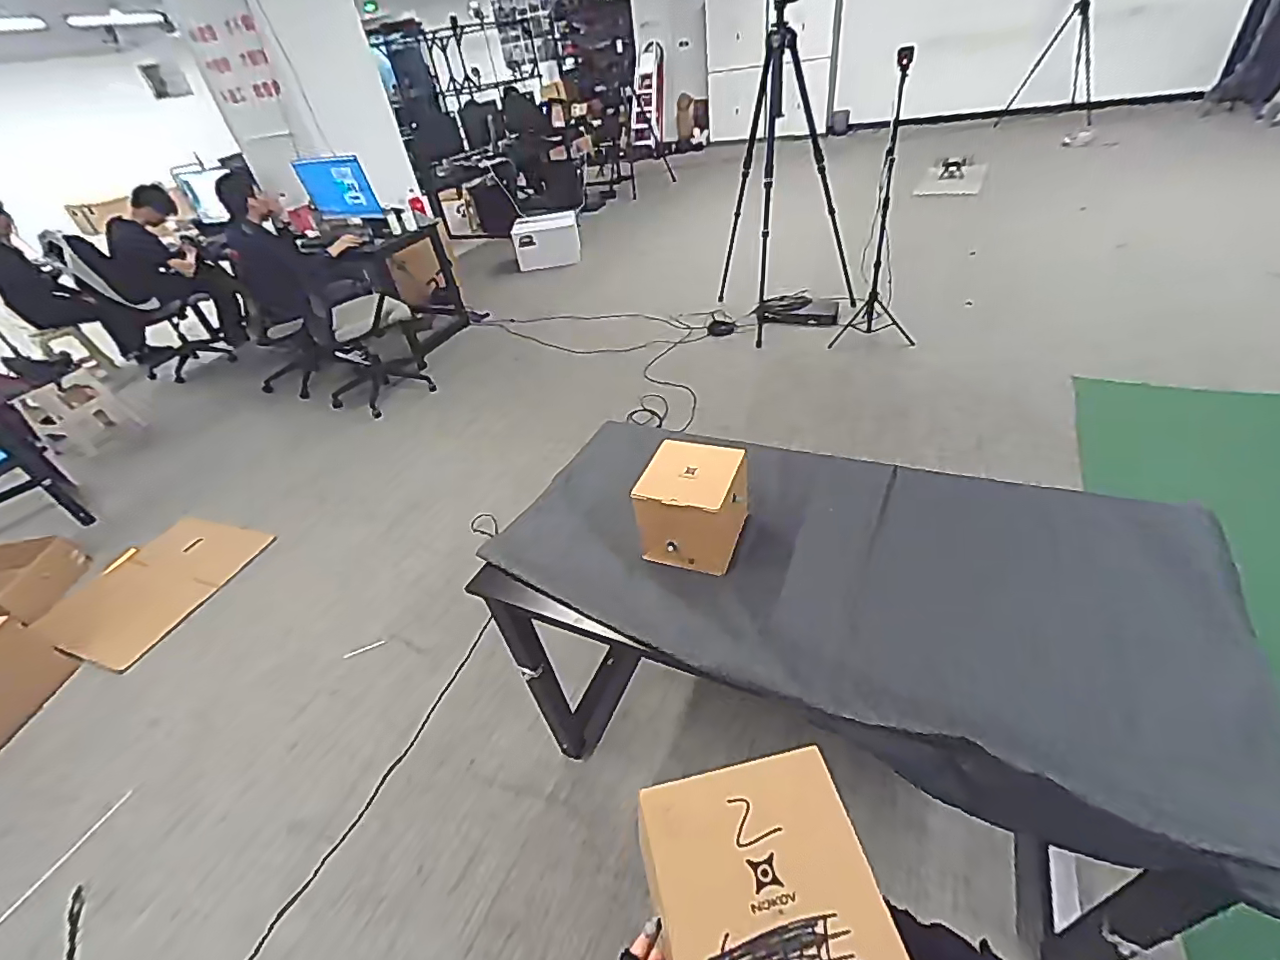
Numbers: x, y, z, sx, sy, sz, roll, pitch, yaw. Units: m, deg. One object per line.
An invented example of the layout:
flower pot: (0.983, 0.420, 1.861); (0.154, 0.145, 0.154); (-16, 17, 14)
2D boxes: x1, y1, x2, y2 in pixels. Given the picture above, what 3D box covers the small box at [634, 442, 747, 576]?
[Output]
small box: (0.104, 0.054, 1.044); (0.168, 0.176, 0.179); (10, 43, 22)
